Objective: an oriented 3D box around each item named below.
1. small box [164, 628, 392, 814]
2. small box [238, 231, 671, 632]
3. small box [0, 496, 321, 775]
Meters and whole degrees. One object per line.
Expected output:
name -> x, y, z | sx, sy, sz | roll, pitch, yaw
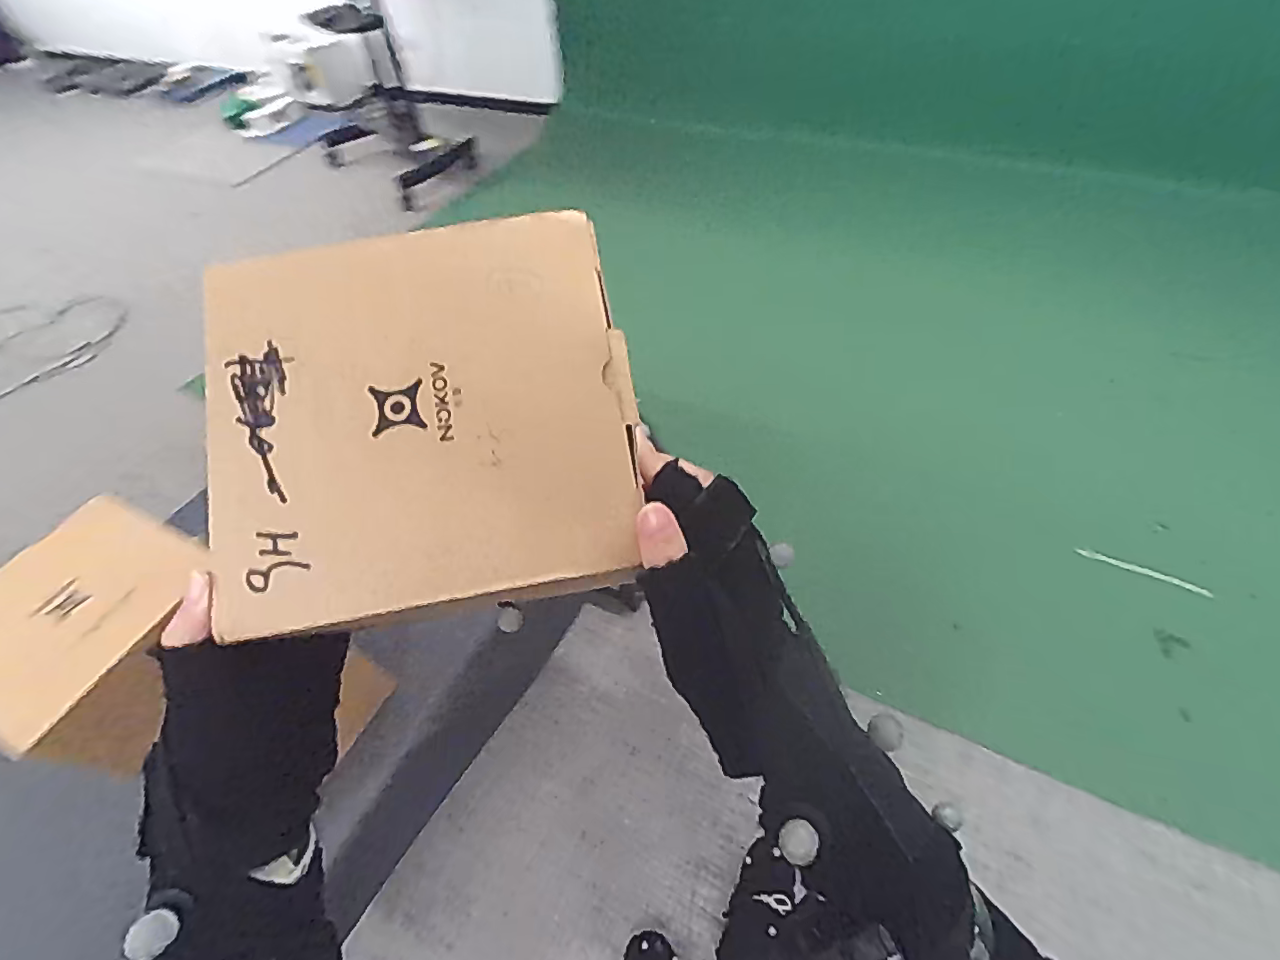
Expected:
small box -> -0.432, 0.259, 0.634 | 0.168, 0.176, 0.179 | 19, 55, 18
small box -> -0.088, -0.013, 0.314 | 0.179, 0.176, 0.168 | -8, 78, -5
small box -> -0.450, 0.147, 0.497 | 0.179, 0.176, 0.168 | 18, 57, 16
